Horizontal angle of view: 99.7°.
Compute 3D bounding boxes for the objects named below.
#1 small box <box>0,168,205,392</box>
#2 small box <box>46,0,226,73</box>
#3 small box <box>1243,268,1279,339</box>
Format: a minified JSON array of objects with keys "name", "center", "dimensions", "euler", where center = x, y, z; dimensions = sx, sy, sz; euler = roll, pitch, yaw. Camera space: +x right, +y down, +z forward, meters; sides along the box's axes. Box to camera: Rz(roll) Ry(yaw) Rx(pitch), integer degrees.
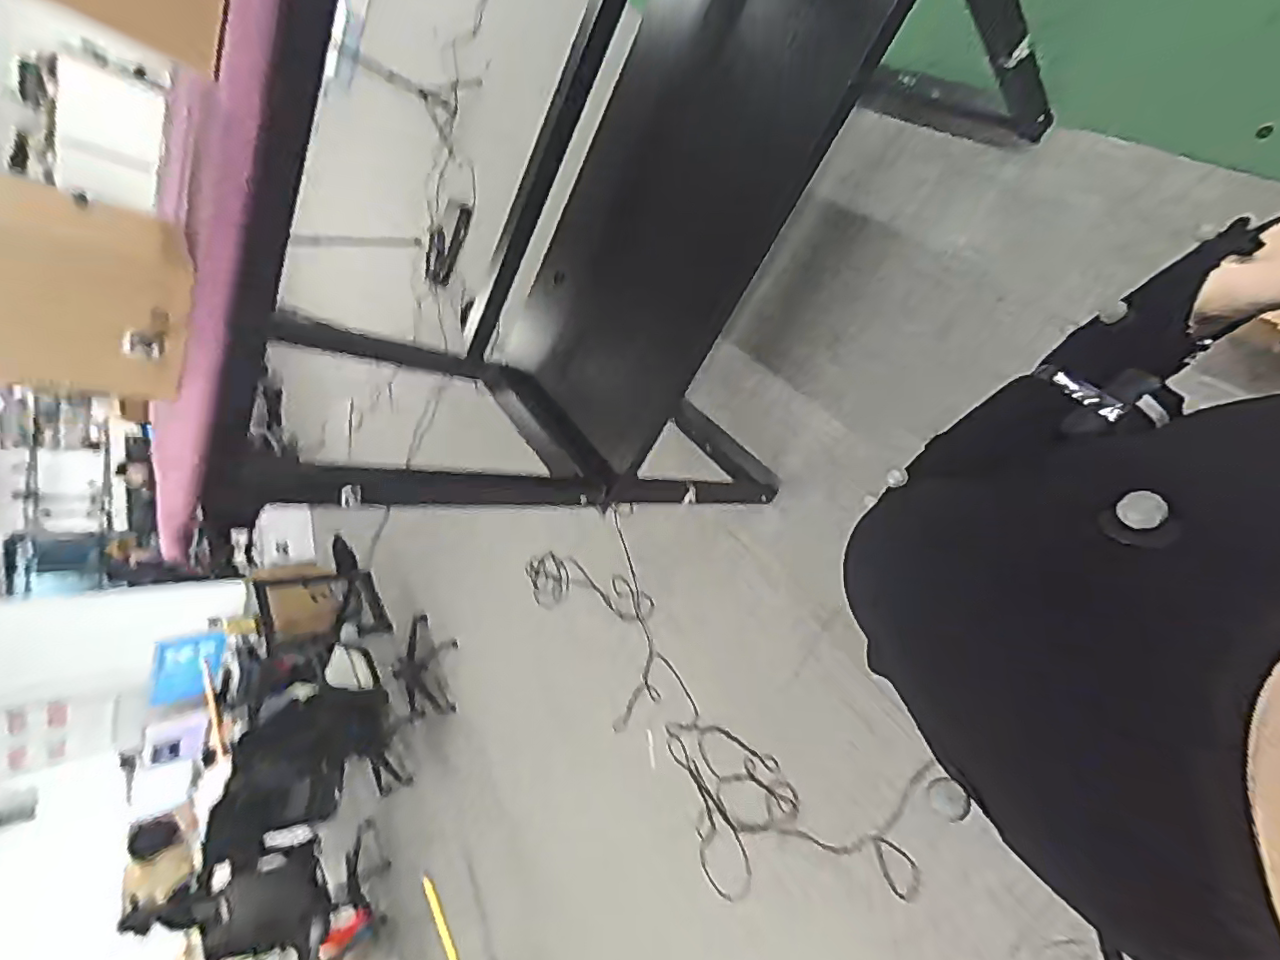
[{"name":"small box","center":[-0.610,-0.212,0.603],"dimensions":[0.179,0.176,0.168],"euler":[44,118,35]},{"name":"small box","center":[-0.470,-0.508,0.478],"dimensions":[0.168,0.176,0.179],"euler":[50,120,35]},{"name":"small box","center":[1.176,-0.317,0.901],"dimensions":[0.168,0.176,0.179],"euler":[48,120,35]}]
